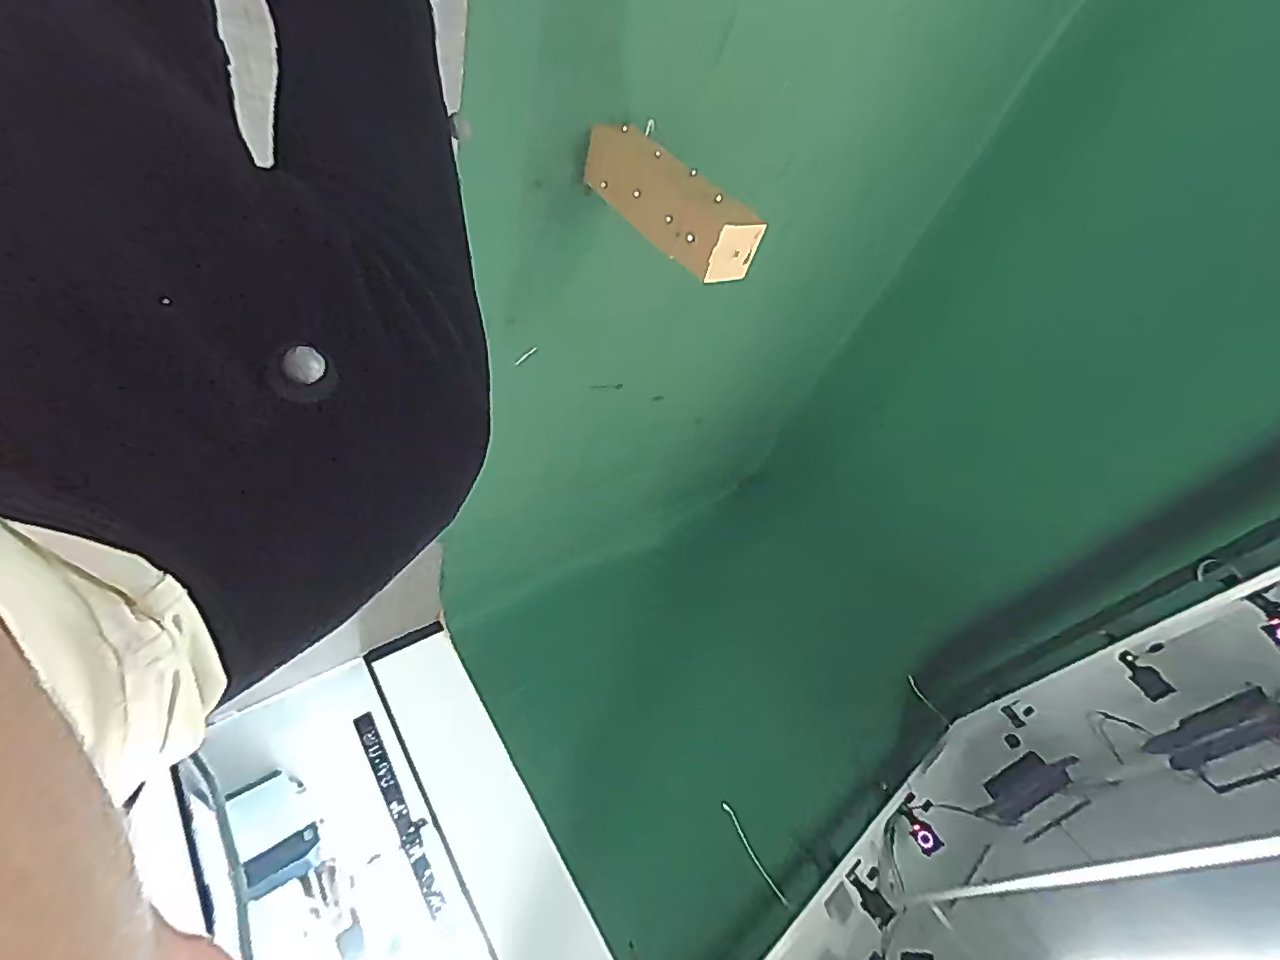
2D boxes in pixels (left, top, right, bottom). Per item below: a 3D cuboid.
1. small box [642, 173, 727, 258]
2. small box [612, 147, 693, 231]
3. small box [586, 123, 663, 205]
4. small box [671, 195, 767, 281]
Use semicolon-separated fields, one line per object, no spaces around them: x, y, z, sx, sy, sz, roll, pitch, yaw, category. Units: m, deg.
0.126;-0.793;1.611;0.168;0.176;0.179;-21;150;-31;small box
0.033;-0.905;1.686;0.168;0.176;0.179;-20;149;-33;small box
-0.058;-1.021;1.753;0.168;0.176;0.179;-22;151;-32;small box
0.214;-0.684;1.525;0.179;0.176;0.168;-19;148;-34;small box
